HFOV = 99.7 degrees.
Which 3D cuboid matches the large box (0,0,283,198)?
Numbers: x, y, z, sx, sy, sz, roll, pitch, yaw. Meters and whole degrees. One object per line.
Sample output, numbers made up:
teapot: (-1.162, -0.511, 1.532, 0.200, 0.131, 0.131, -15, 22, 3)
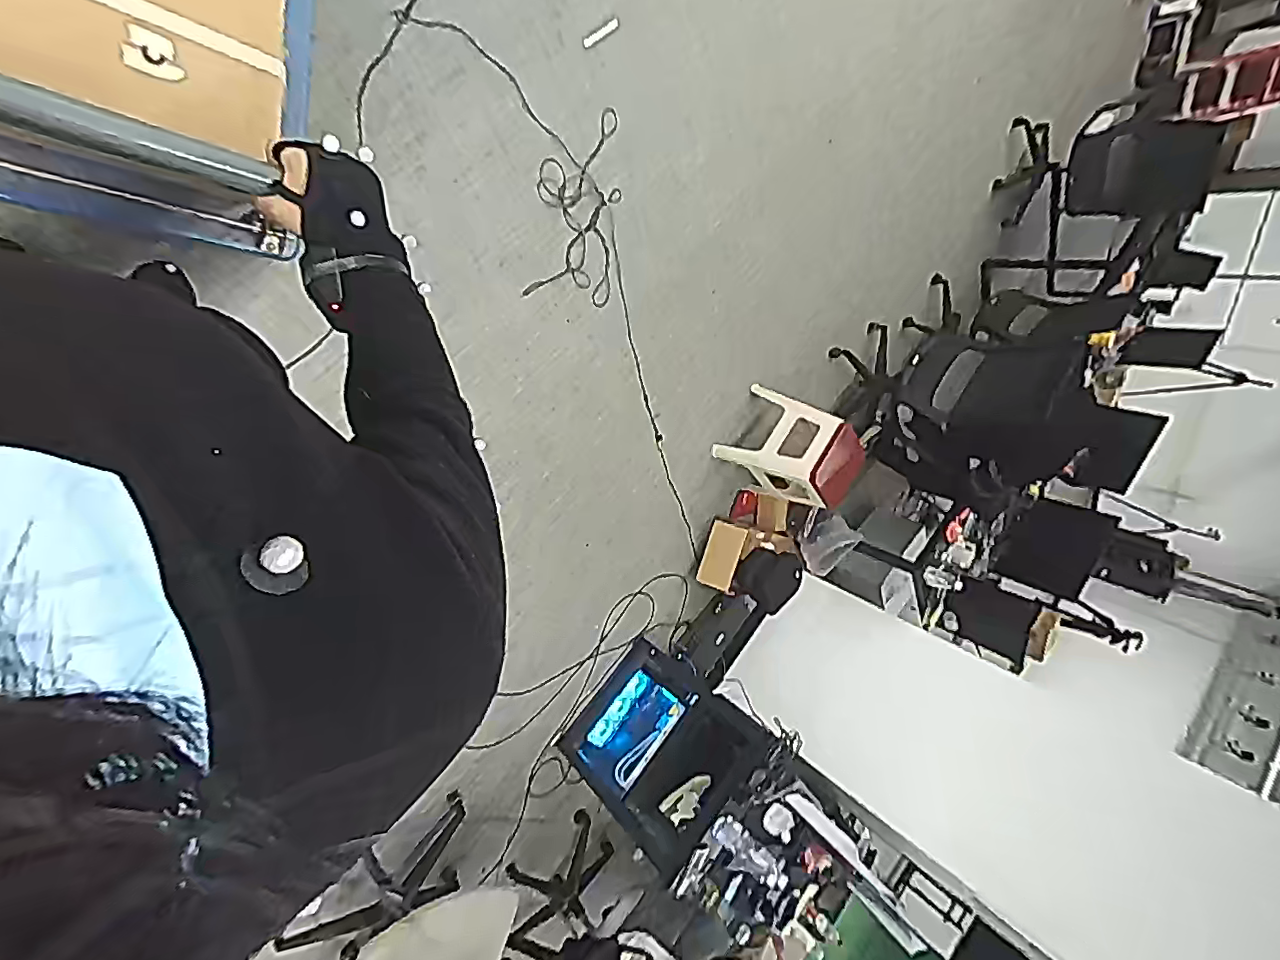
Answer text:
large box: (-0.755, -0.619, 0.732, 0.408, 0.320, 0.320, -1, 108, -44)
